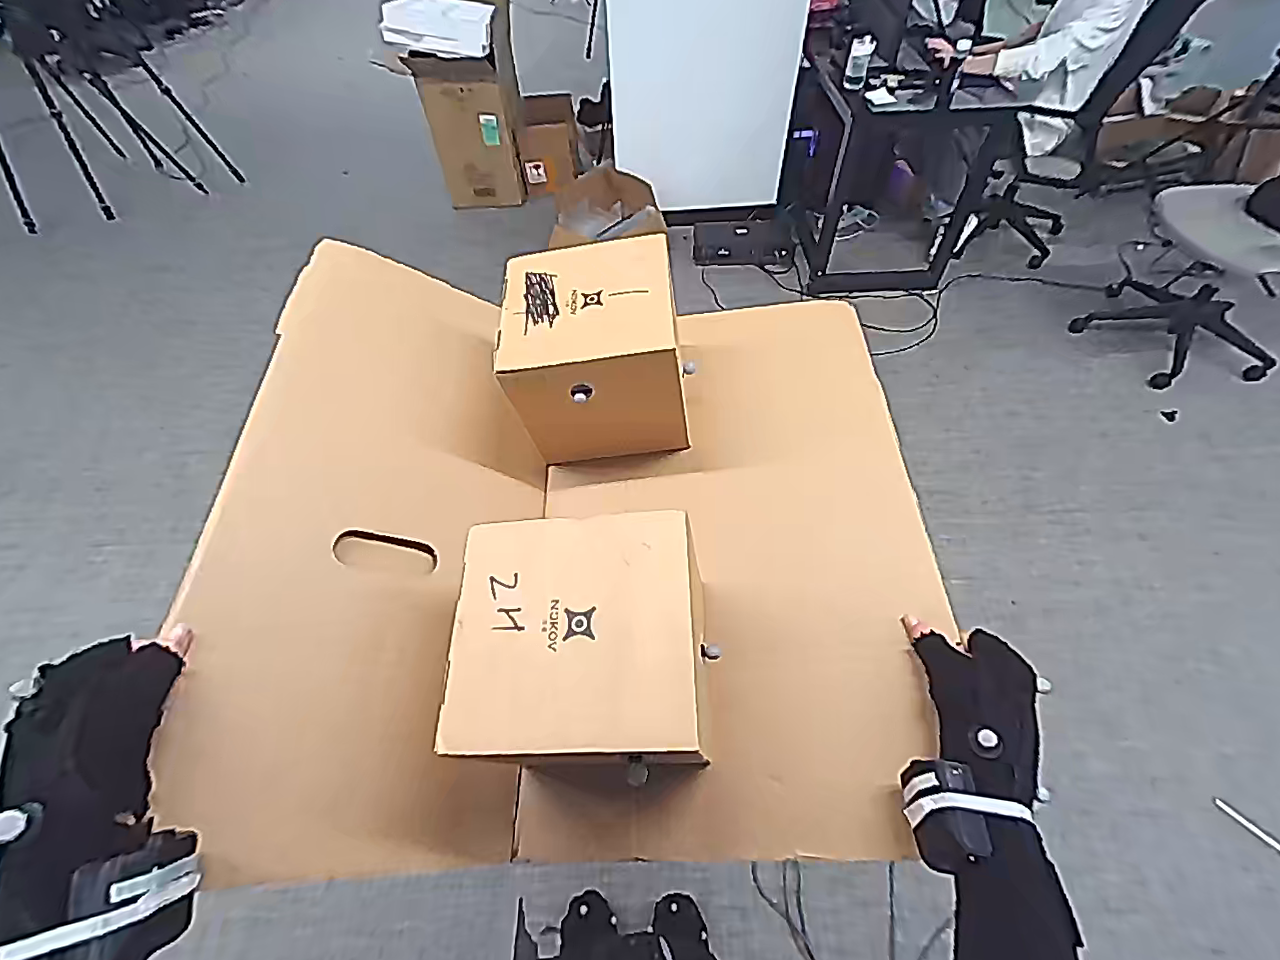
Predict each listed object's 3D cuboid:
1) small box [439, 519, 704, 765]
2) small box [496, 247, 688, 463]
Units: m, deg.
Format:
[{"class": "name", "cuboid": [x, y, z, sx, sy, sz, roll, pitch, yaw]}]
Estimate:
[{"class": "small box", "cuboid": [-0.037, 0.145, 0.459, 0.179, 0.176, 0.168, -5, 60, 9]}, {"class": "small box", "cuboid": [-0.043, -0.132, 0.619, 0.179, 0.176, 0.168, -6, 60, 6]}]
